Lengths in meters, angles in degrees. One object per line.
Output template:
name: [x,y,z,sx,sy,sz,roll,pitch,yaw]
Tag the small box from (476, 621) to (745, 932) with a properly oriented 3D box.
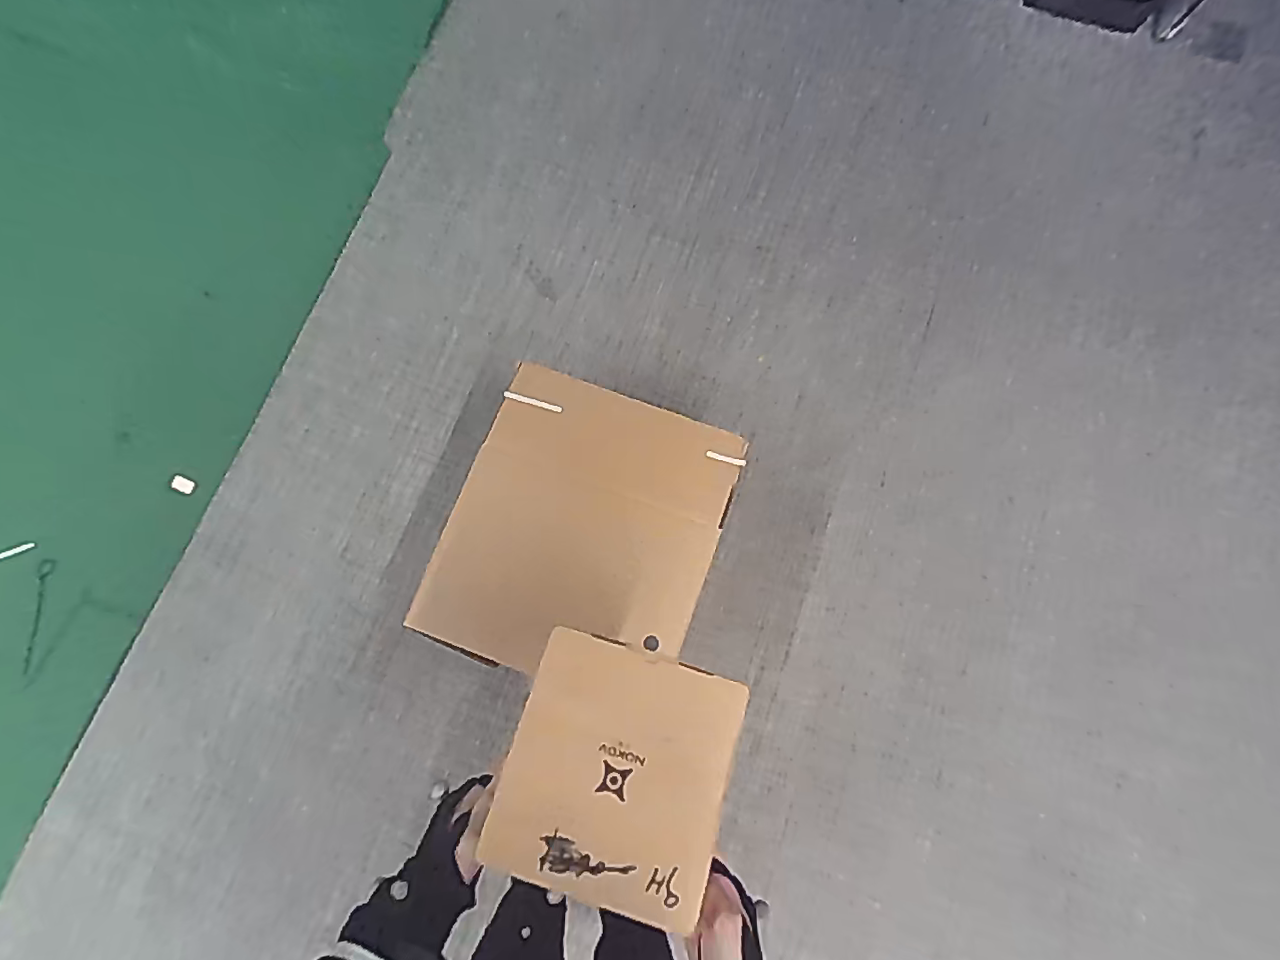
small box: [-0.022,0.244,0.489,0.168,0.176,0.179,18,71,4]
